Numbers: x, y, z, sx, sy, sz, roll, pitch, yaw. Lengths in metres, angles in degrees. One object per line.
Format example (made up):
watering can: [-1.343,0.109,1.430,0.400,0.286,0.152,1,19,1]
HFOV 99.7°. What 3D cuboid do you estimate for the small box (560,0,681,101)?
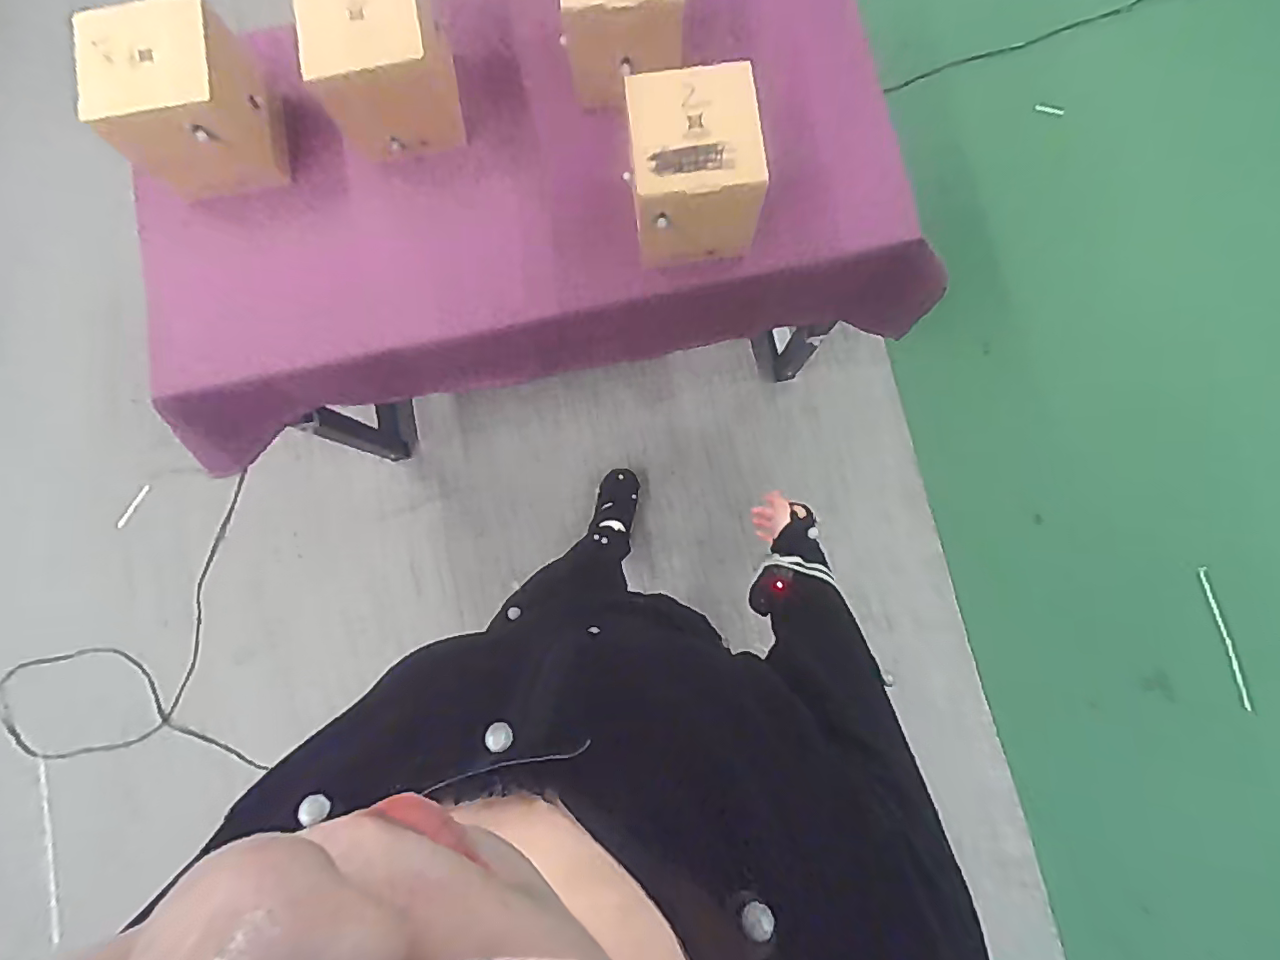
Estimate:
small box: [-0.026,-0.699,0.801,0.168,0.176,0.179,-4,83,1]

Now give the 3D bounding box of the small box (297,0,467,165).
small box: [-0.373,-0.613,0.803,0.168,0.176,0.179,-10,83,1]

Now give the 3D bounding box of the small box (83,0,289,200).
small box: [-0.654,-0.550,0.802,0.179,0.176,0.168,-10,82,0]
